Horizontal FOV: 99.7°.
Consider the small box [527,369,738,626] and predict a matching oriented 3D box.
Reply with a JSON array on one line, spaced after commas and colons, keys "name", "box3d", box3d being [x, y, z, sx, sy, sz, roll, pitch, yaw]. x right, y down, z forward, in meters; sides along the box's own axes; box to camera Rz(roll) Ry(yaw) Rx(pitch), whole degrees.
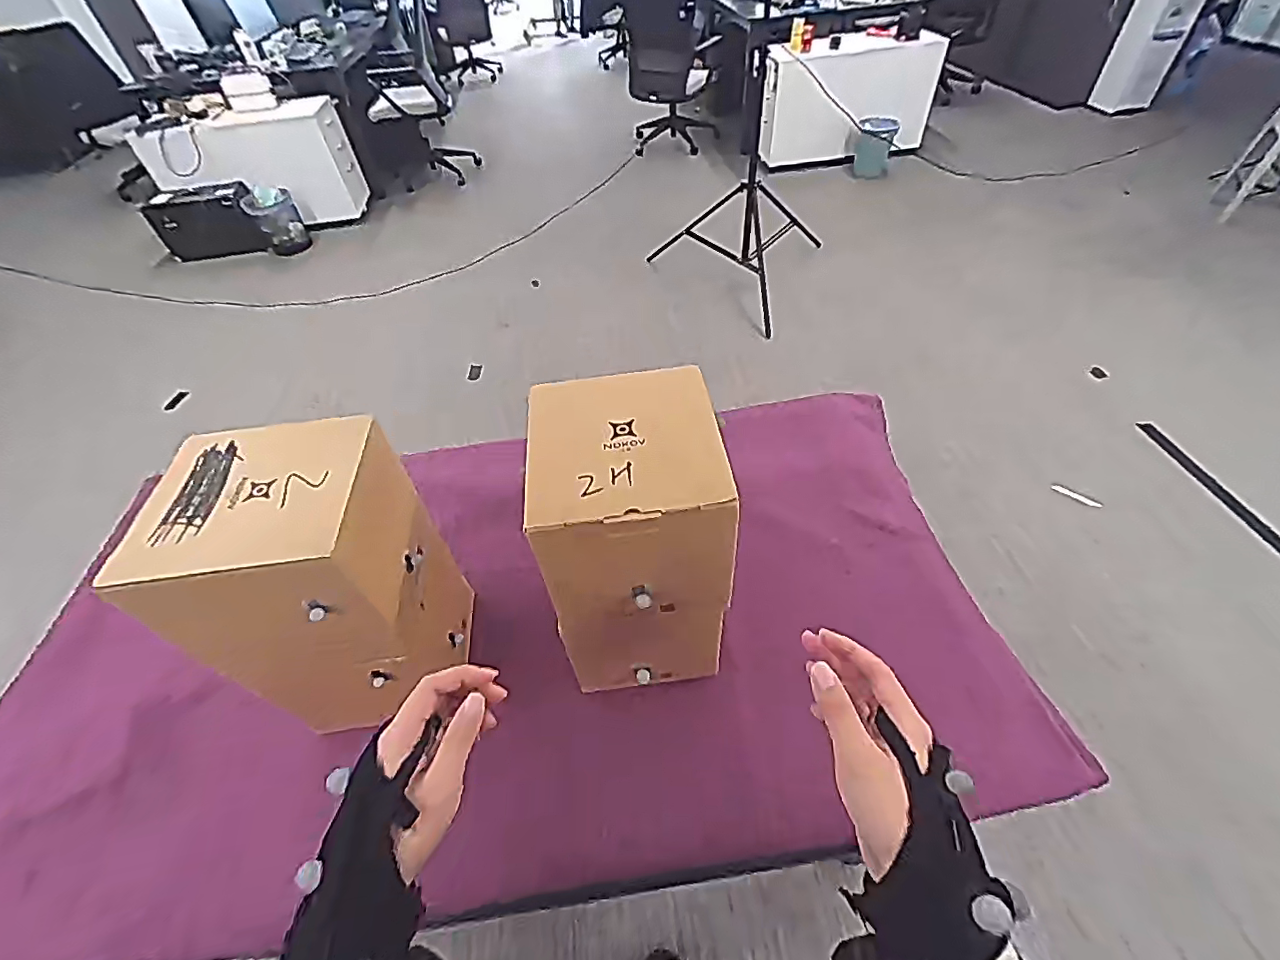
[{"name": "small box", "box3d": [-0.008, 0.018, 0.527, 0.168, 0.176, 0.179, -7, 48, 0]}]

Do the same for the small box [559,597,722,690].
[{"name": "small box", "box3d": [-0.001, 0.129, 0.649, 0.168, 0.176, 0.179, -7, 48, -1]}]

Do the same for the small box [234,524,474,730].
[{"name": "small box", "box3d": [-0.312, 0.176, 0.636, 0.179, 0.176, 0.168, -7, 48, -3]}]
